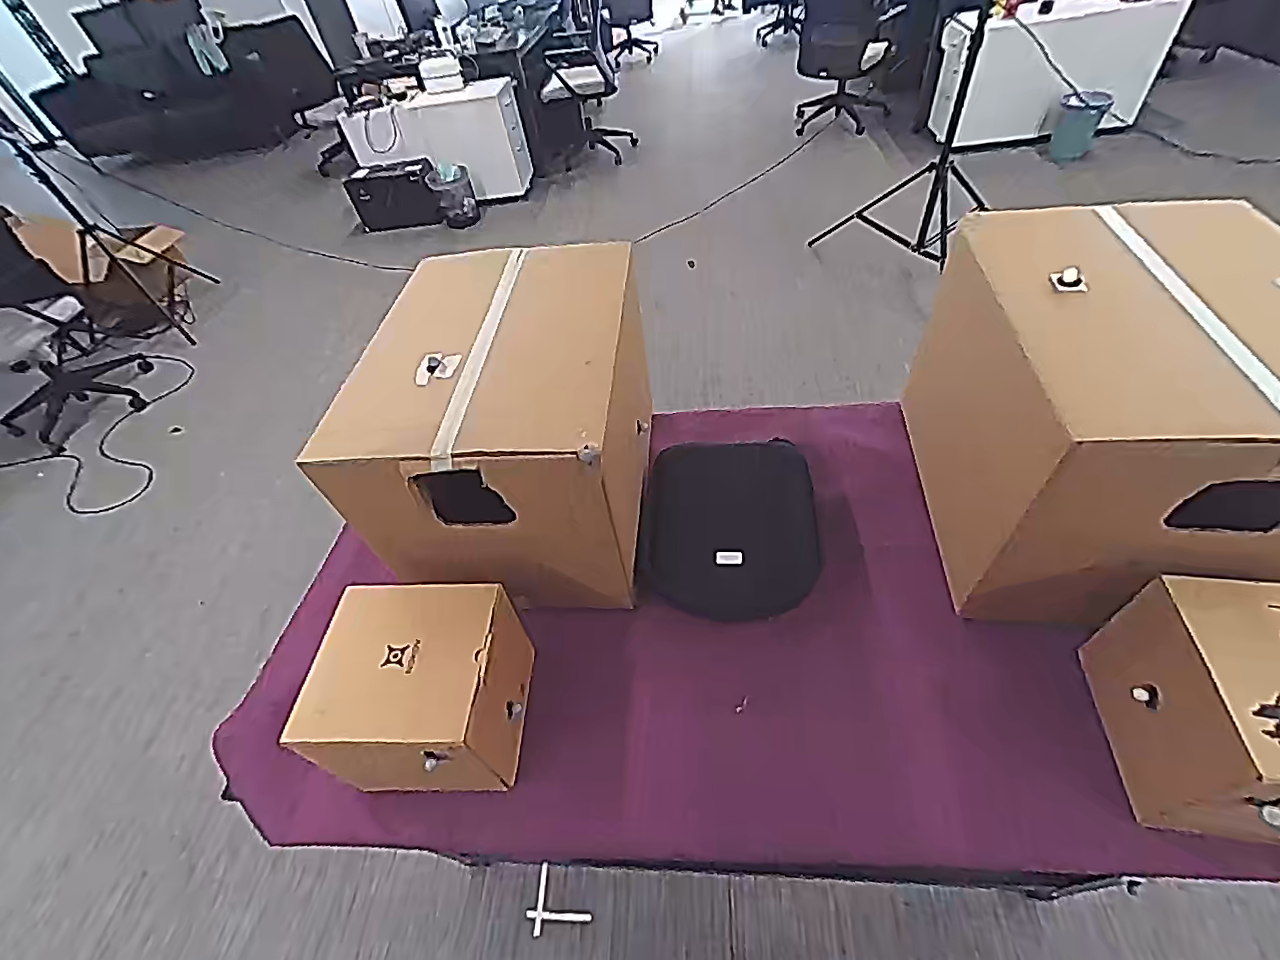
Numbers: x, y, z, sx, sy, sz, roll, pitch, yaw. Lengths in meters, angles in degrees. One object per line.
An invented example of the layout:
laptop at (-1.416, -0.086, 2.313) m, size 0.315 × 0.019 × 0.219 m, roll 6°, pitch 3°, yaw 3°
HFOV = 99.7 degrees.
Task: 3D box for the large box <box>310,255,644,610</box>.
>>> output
large box at (-0.163, -0.065, 0.768) m, size 0.320 × 0.320 × 0.408 m, roll -2°, pitch 51°, yaw 7°
